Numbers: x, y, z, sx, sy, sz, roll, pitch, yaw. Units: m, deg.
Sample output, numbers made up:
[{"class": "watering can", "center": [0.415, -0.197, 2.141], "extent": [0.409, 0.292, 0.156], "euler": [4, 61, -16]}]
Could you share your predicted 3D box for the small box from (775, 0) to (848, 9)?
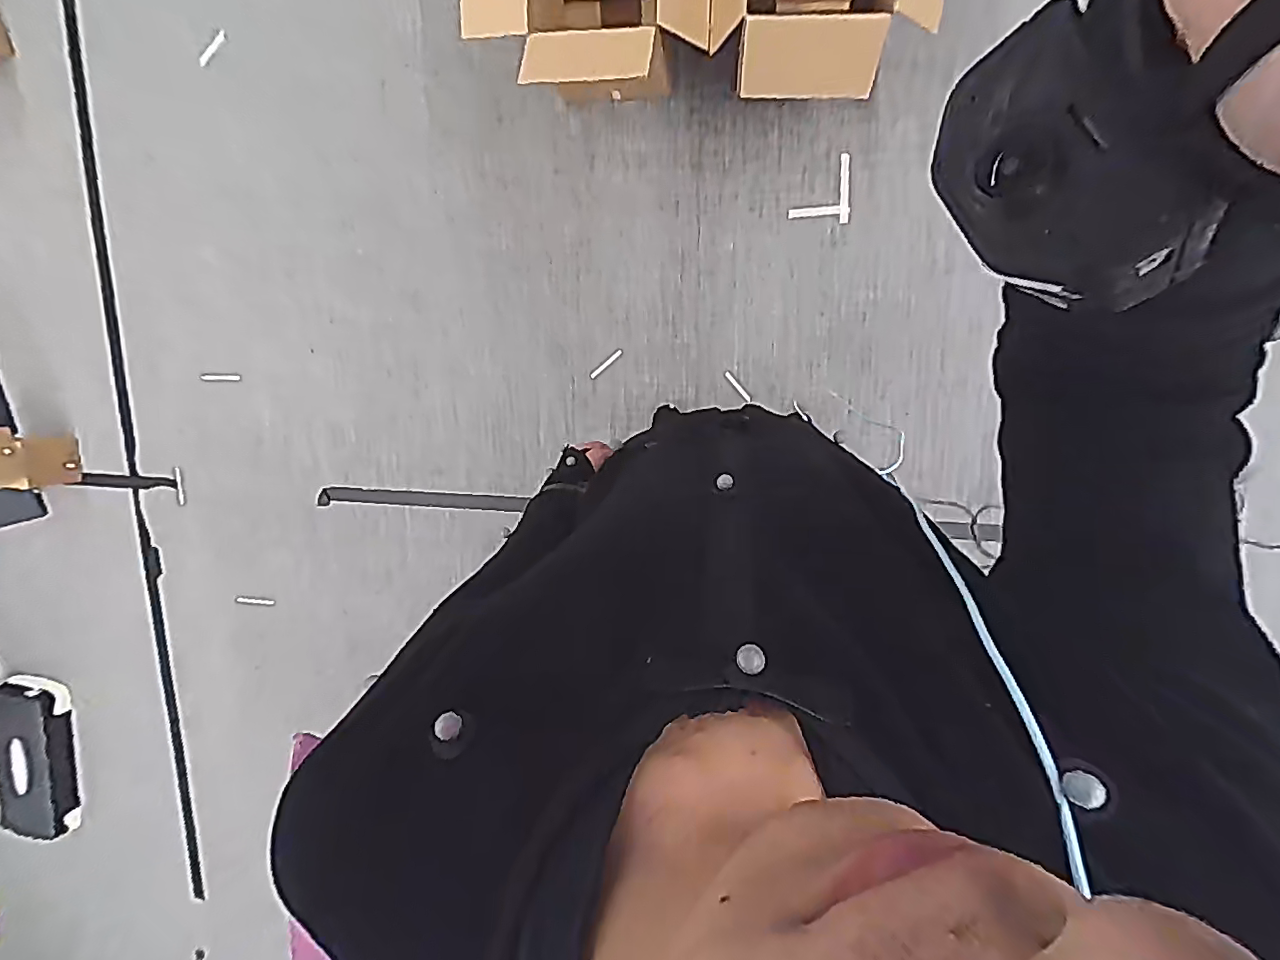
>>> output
[{"class": "small box", "center": [0.390, -1.141, 1.141], "extent": [0.179, 0.176, 0.168], "euler": [4, 101, 6]}]
